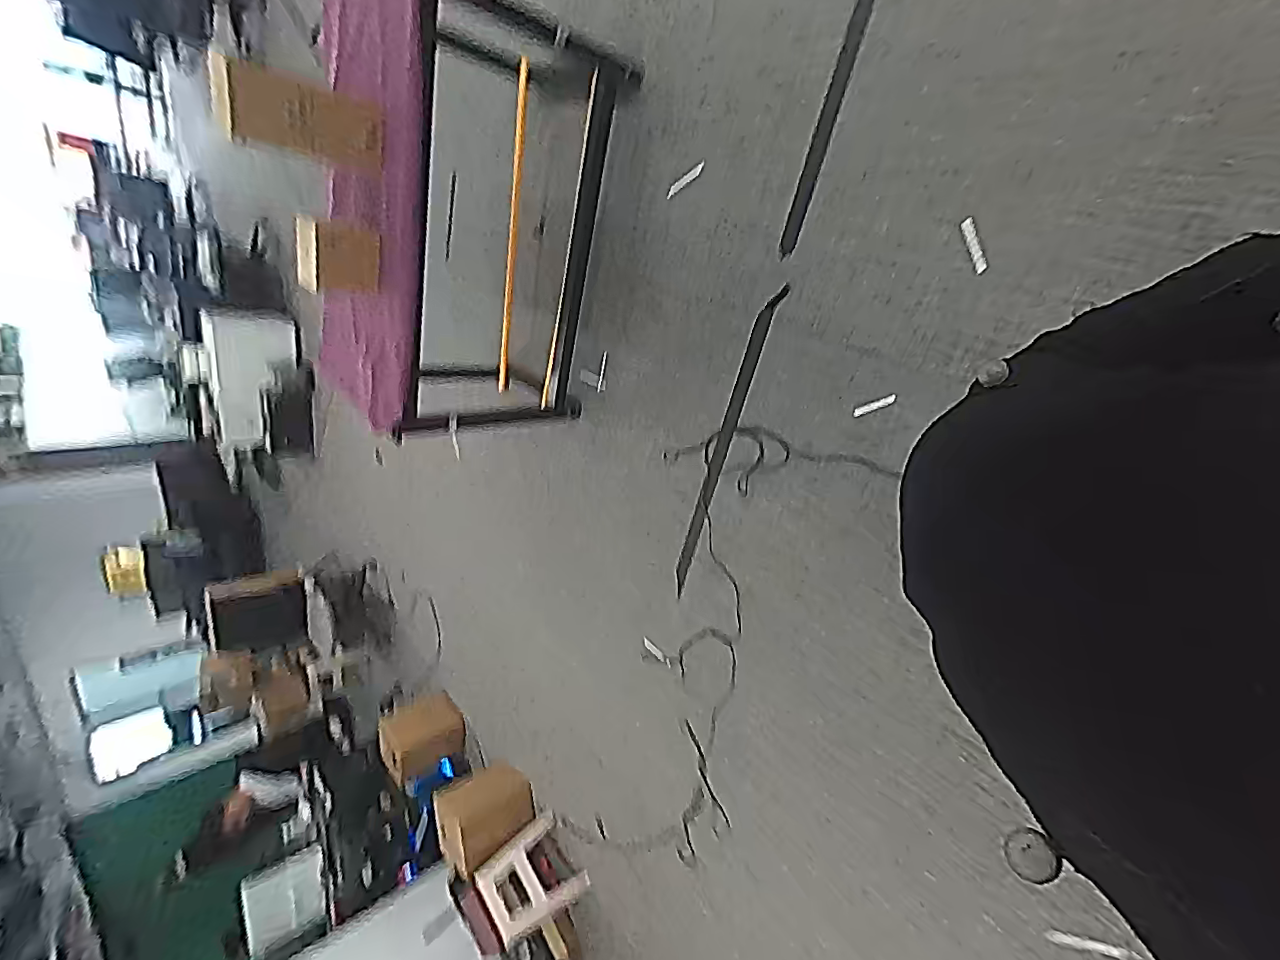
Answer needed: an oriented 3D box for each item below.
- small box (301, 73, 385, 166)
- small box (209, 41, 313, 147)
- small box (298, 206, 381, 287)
[{"bbox_3d":[-0.785,-0.936,1.406,0.179,0.176,0.168,34,122,34],"label":"small box"},{"bbox_3d":[-0.899,-0.915,1.289,0.179,0.176,0.168,35,123,35],"label":"small box"},{"bbox_3d":[-0.851,-0.658,1.536,0.168,0.176,0.179,33,120,36],"label":"small box"}]
